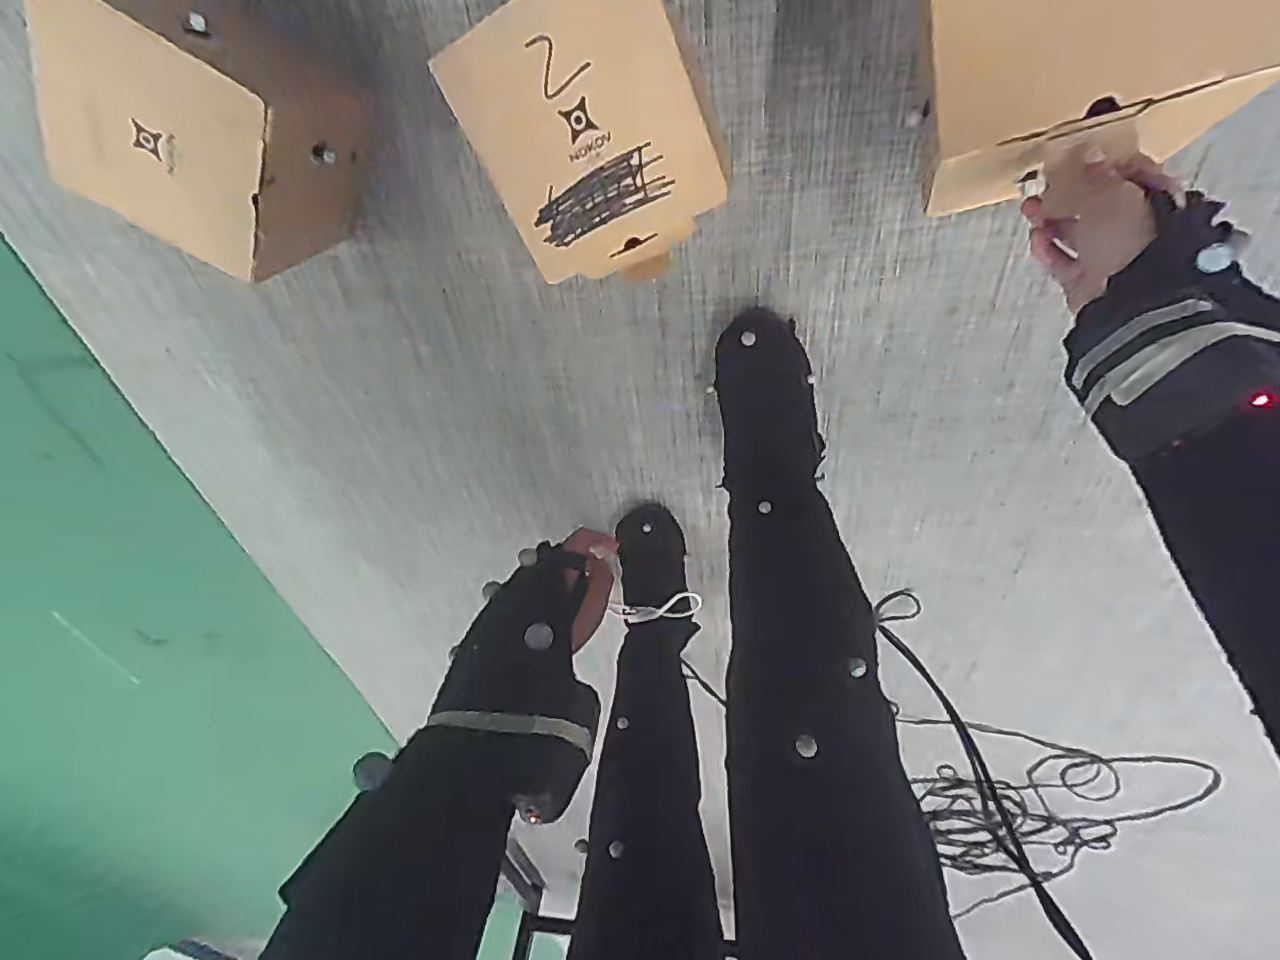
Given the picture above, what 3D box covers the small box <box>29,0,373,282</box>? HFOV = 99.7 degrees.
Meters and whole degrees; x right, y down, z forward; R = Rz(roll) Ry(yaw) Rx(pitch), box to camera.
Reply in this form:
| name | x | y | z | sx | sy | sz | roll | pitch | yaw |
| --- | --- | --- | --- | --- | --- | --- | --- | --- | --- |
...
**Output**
| name | x | y | z | sx | sy | sz | roll | pitch | yaw |
| --- | --- | --- | --- | --- | --- | --- | --- | --- | --- |
| small box | -0.381 | -0.323 | 0.502 | 0.179 | 0.176 | 0.168 | 28 | 126 | -12 |
